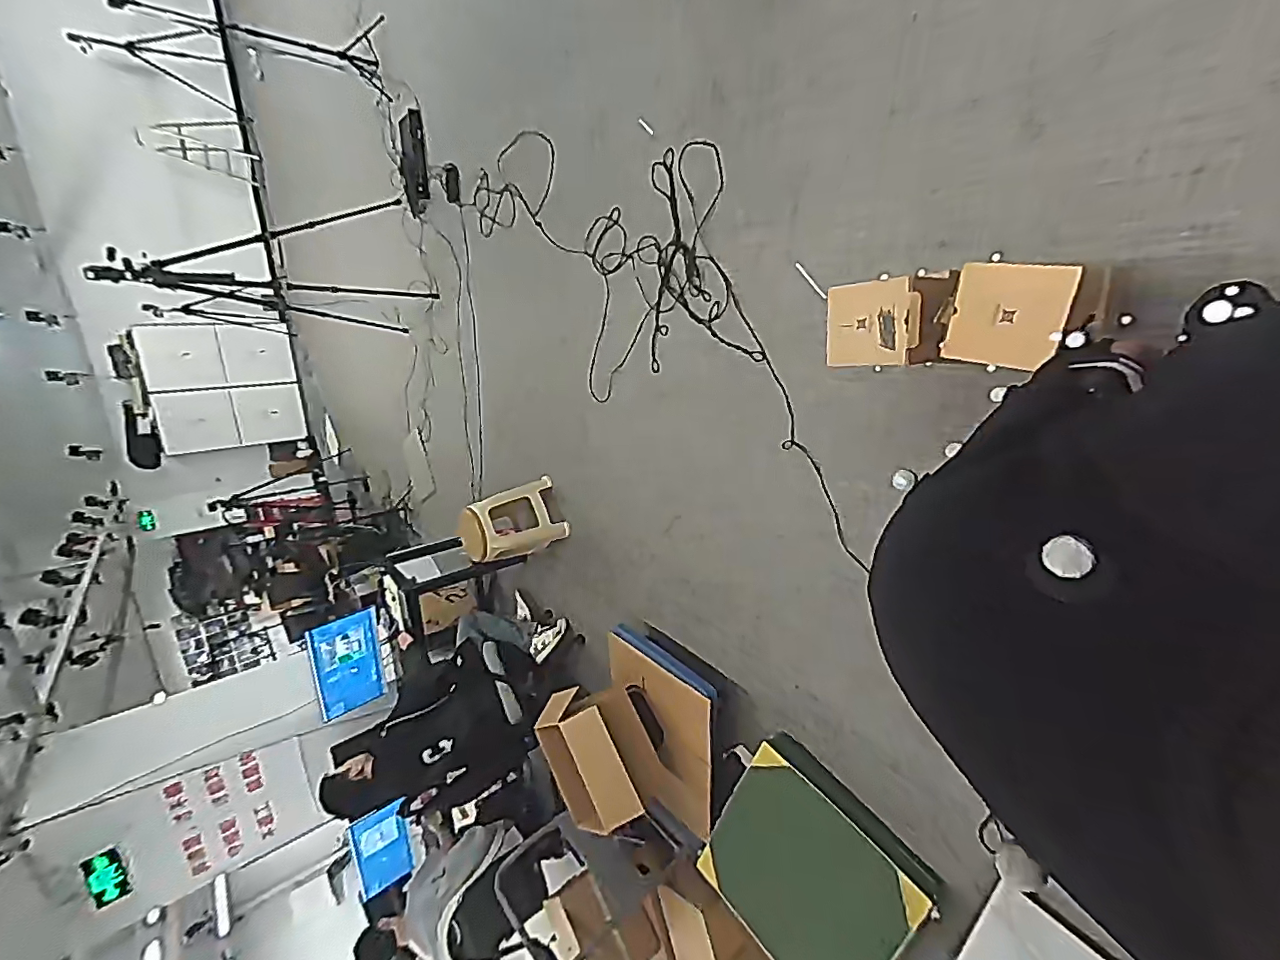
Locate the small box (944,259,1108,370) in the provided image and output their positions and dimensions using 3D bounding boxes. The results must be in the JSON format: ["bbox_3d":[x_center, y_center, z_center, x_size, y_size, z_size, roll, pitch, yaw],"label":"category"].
[{"bbox_3d":[0.676,-0.297,0.949,0.179,0.176,0.168,26,122,45],"label":"small box"}]

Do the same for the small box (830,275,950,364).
[{"bbox_3d":[0.520,-0.332,1.128,0.179,0.176,0.168,13,111,50],"label":"small box"}]

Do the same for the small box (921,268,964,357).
[{"bbox_3d":[0.654,-0.368,1.218,0.168,0.176,0.179,5,106,52],"label":"small box"}]
